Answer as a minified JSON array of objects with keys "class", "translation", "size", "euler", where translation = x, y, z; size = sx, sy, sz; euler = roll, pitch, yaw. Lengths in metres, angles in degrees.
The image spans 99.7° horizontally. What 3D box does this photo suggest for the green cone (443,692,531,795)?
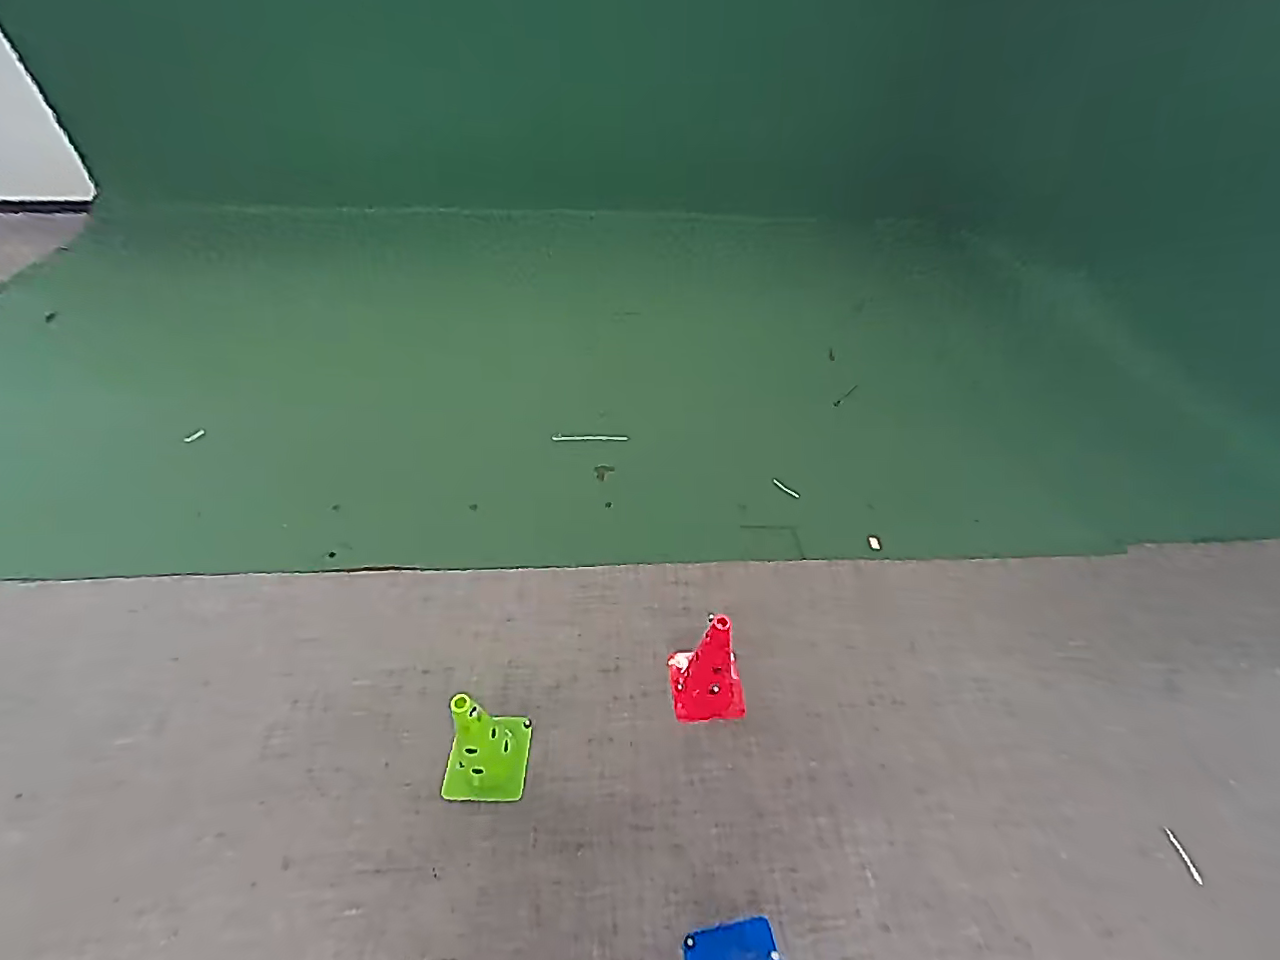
[{"class":"green cone","translation":[-0.388,0.583,1.271],"size":[0.200,0.368,0.202],"euler":[1,47,-1]}]
